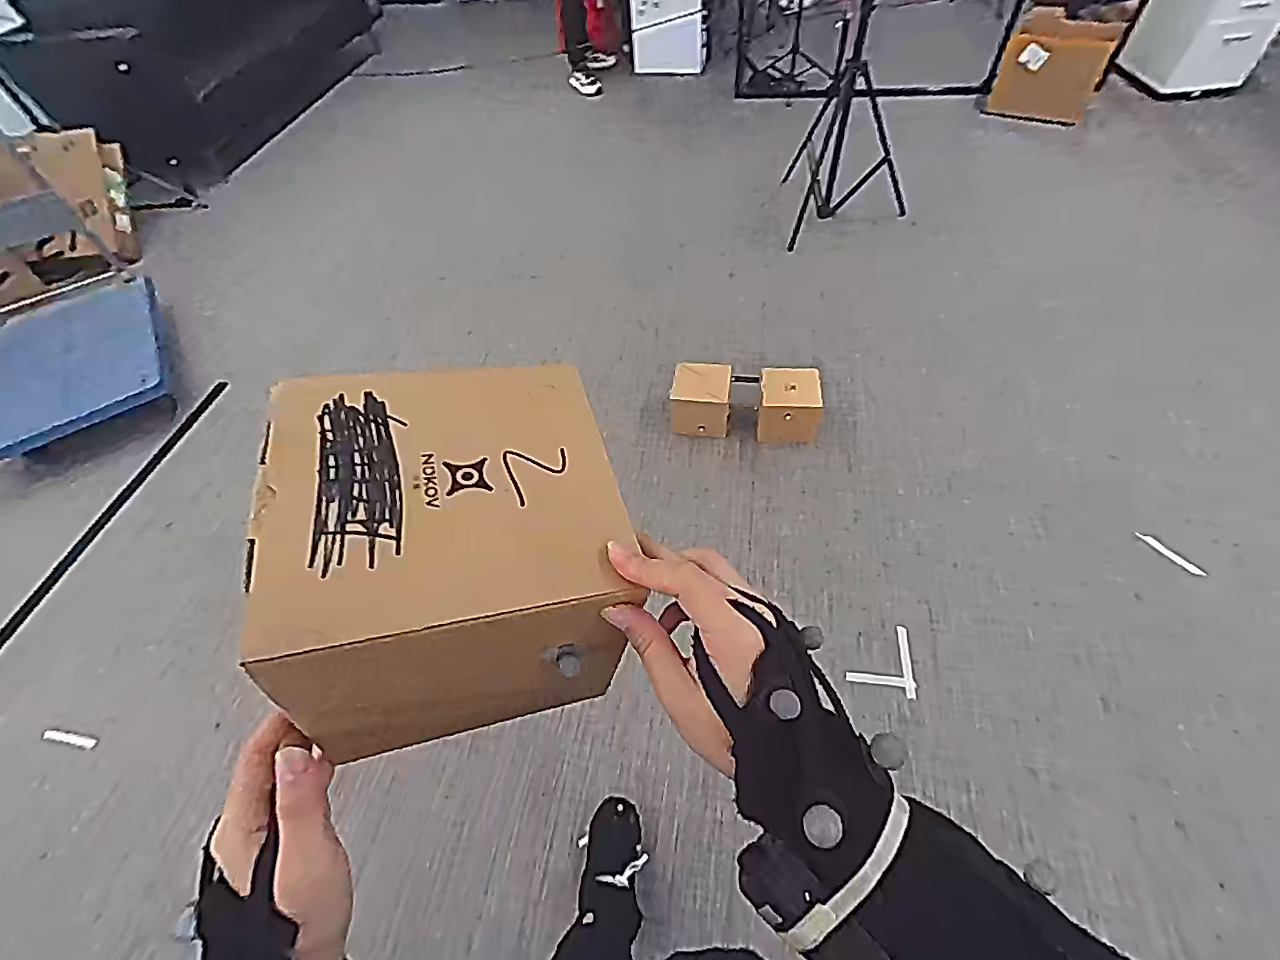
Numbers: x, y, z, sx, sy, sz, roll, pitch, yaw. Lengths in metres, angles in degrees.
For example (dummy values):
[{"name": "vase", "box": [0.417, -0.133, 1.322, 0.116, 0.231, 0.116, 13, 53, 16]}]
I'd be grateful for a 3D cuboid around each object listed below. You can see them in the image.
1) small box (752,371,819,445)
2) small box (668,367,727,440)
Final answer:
[{"name": "small box", "box": [0.456, -0.226, 1.715, 0.179, 0.176, 0.168, 2, 54, 6]}, {"name": "small box", "box": [0.190, -0.250, 1.751, 0.179, 0.176, 0.168, 6, 55, 9]}]
